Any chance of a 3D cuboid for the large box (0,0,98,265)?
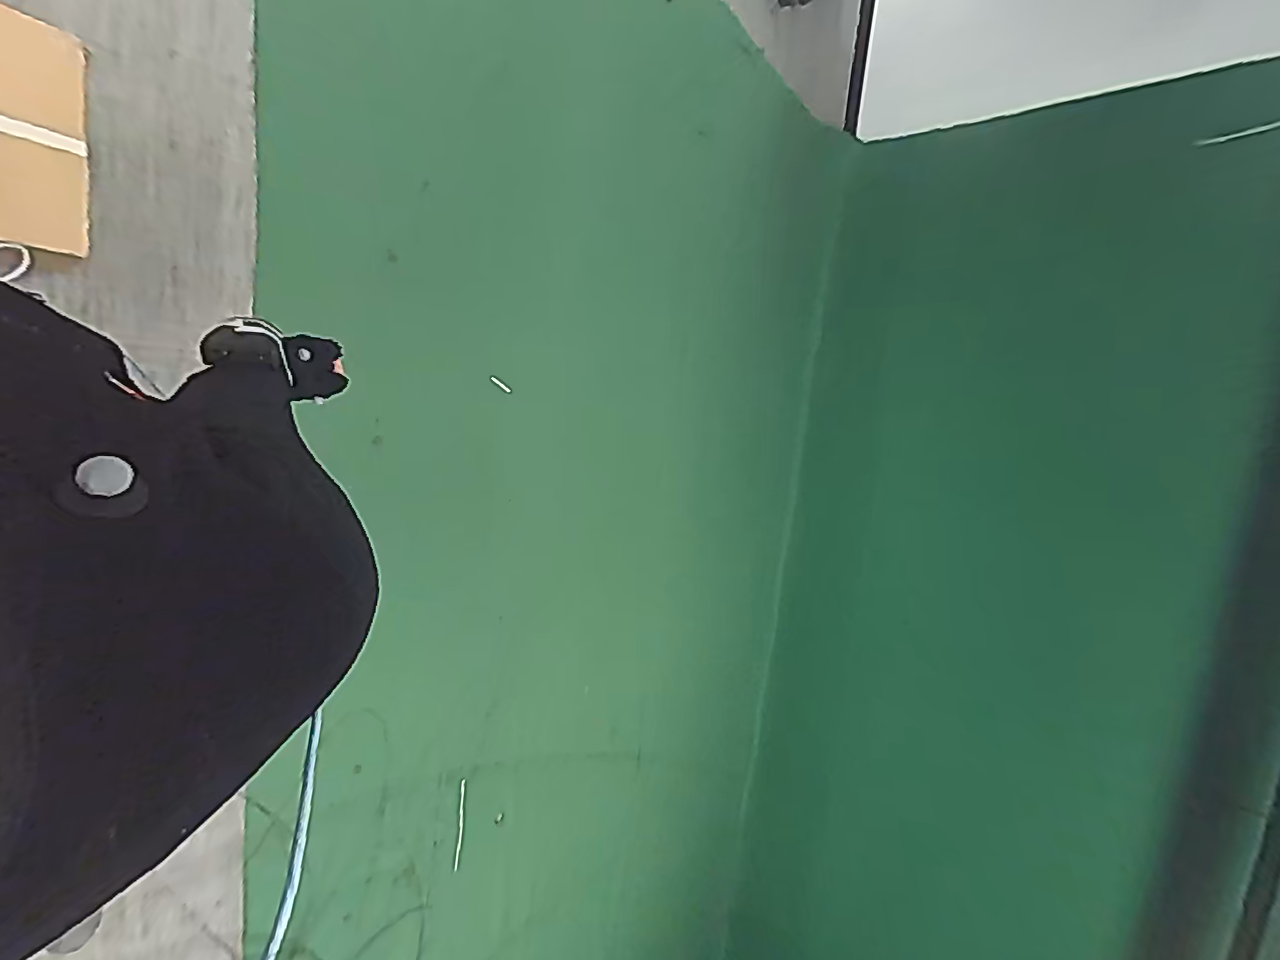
[{"bbox_3d":[-1.069,-0.522,0.756,0.408,0.320,0.320,-3,102,-51],"label":"large box"}]
